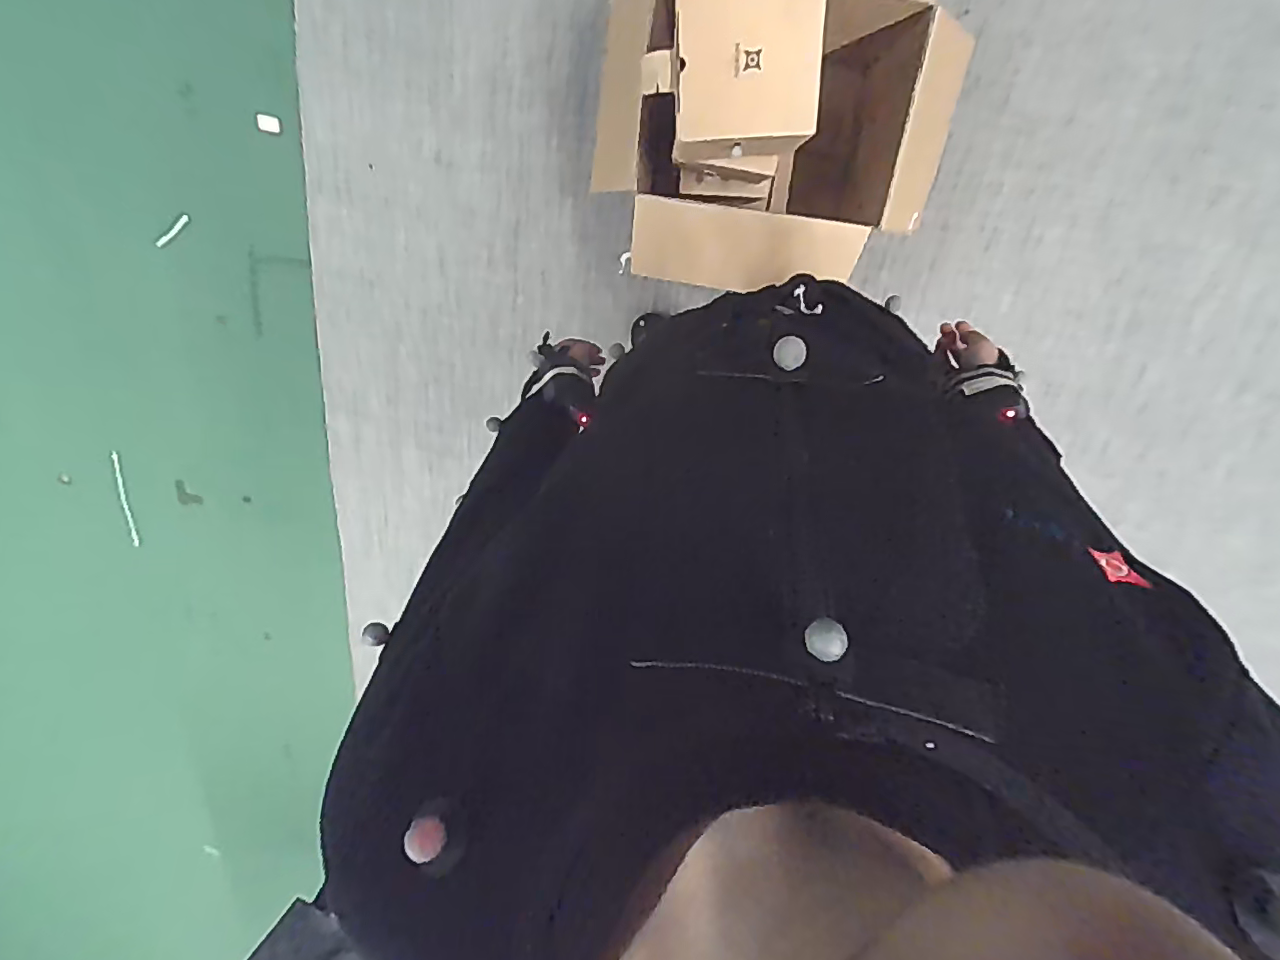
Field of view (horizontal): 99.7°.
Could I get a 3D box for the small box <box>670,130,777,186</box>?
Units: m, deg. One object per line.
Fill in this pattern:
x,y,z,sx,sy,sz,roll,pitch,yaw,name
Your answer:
0.144,-0.596,0.878,0.168,0.176,0.179,10,115,-2,small box

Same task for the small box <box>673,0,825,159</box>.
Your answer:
0.134,-0.539,0.727,0.179,0.176,0.168,-1,114,4,small box
